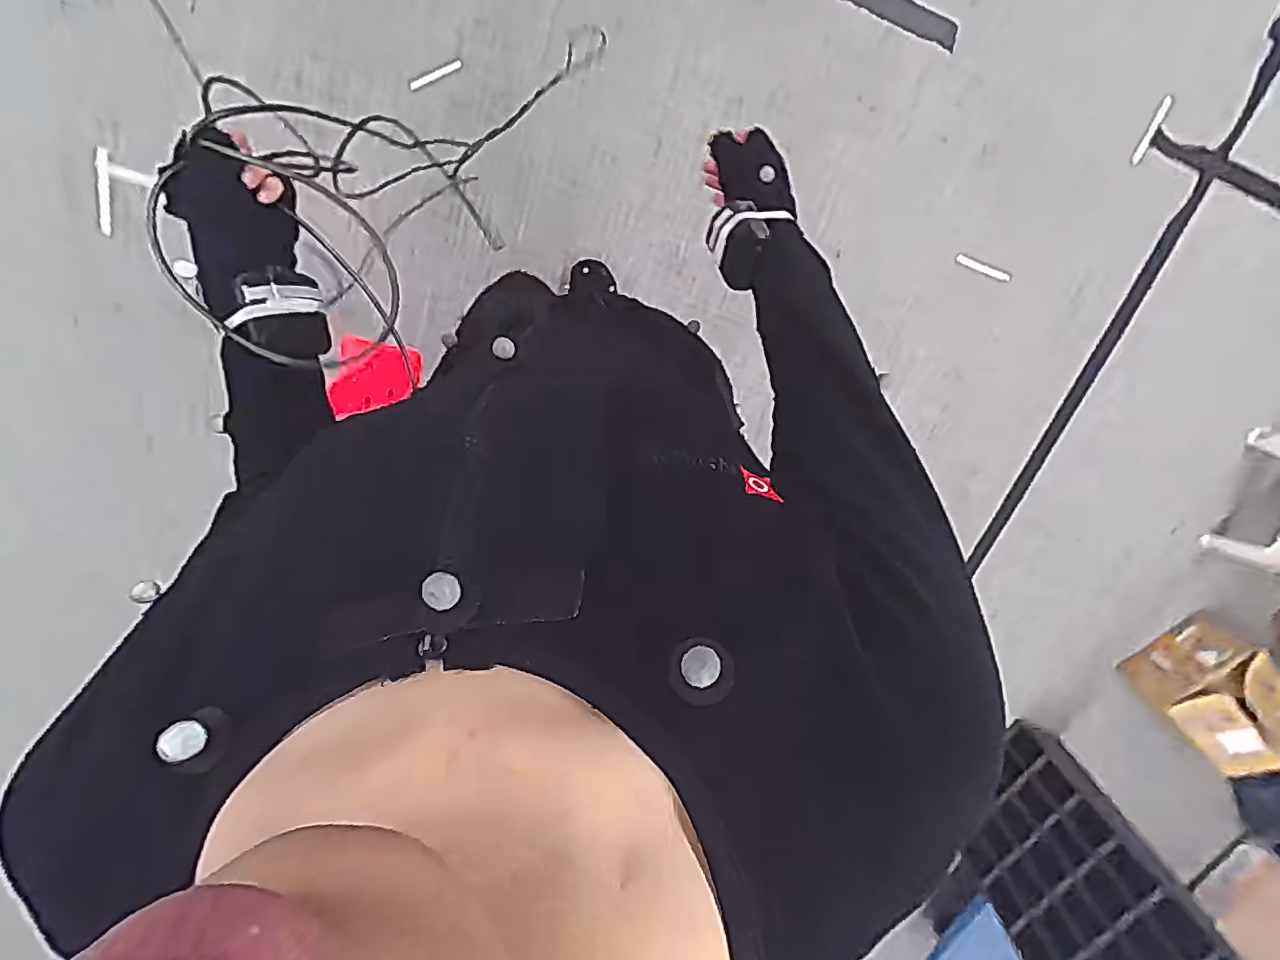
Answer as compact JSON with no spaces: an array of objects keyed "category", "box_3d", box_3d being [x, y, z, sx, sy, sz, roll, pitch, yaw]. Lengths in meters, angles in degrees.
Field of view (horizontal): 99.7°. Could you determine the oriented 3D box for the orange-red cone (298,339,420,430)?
[{"category":"orange-red cone","box_3d":[-0.656,-0.181,1.216,0.199,0.360,0.198,12,111,-8]}]
